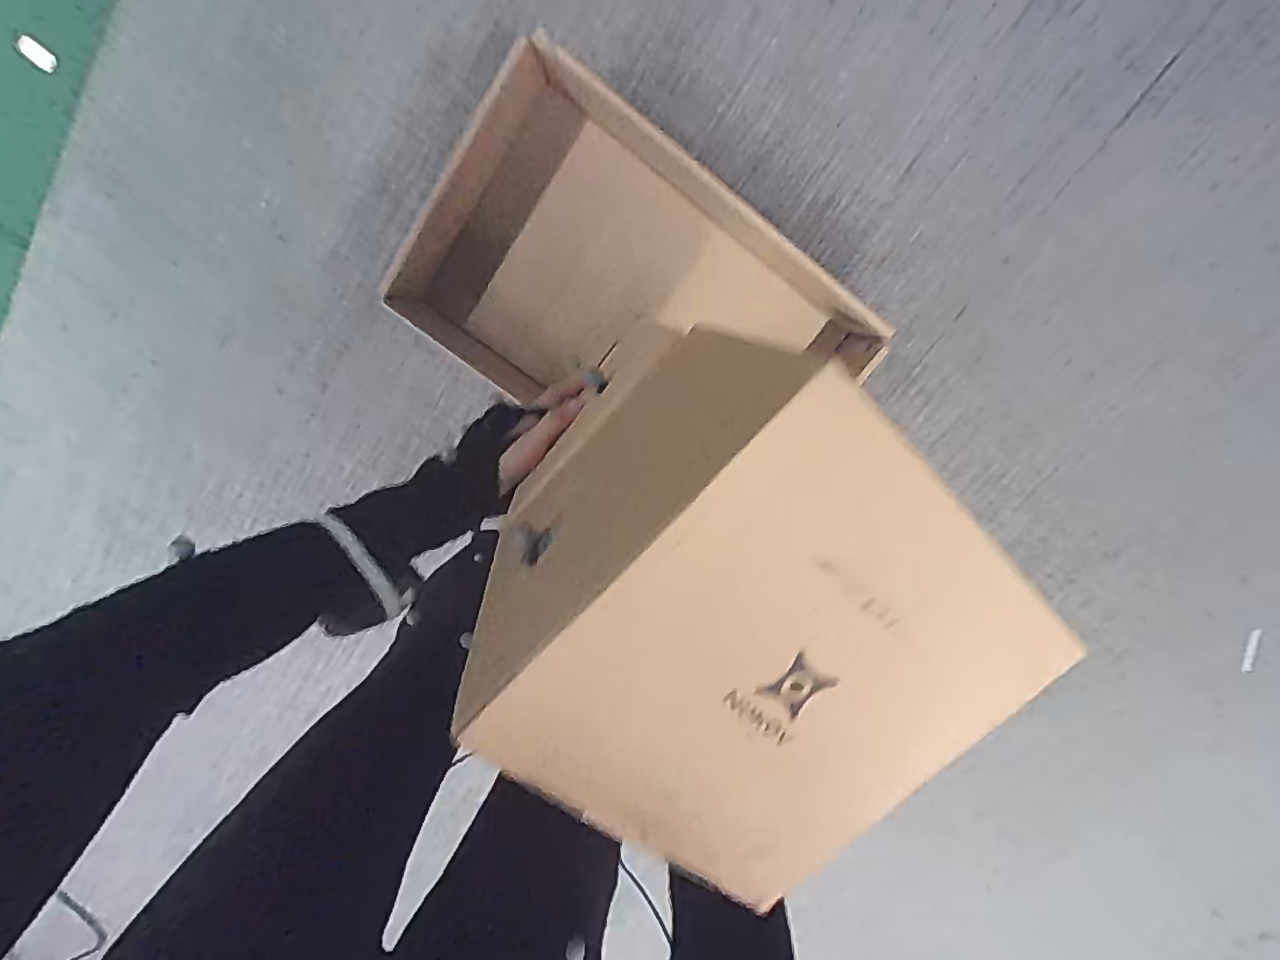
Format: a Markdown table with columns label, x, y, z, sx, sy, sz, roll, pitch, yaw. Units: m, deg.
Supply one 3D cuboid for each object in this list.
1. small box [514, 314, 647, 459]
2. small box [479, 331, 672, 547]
| label | x | y | z | sx | sy | sz | roll | pitch | yaw |
| --- | --- | --- | --- | --- | --- | --- | --- | --- | --- |
| small box | -0.005 | -0.054 | 0.567 | 0.179 | 0.176 | 0.168 | 37 | 102 | -16 |
| small box | 0.009 | 0.004 | 0.415 | 0.179 | 0.176 | 0.168 | 39 | 101 | -17 |
